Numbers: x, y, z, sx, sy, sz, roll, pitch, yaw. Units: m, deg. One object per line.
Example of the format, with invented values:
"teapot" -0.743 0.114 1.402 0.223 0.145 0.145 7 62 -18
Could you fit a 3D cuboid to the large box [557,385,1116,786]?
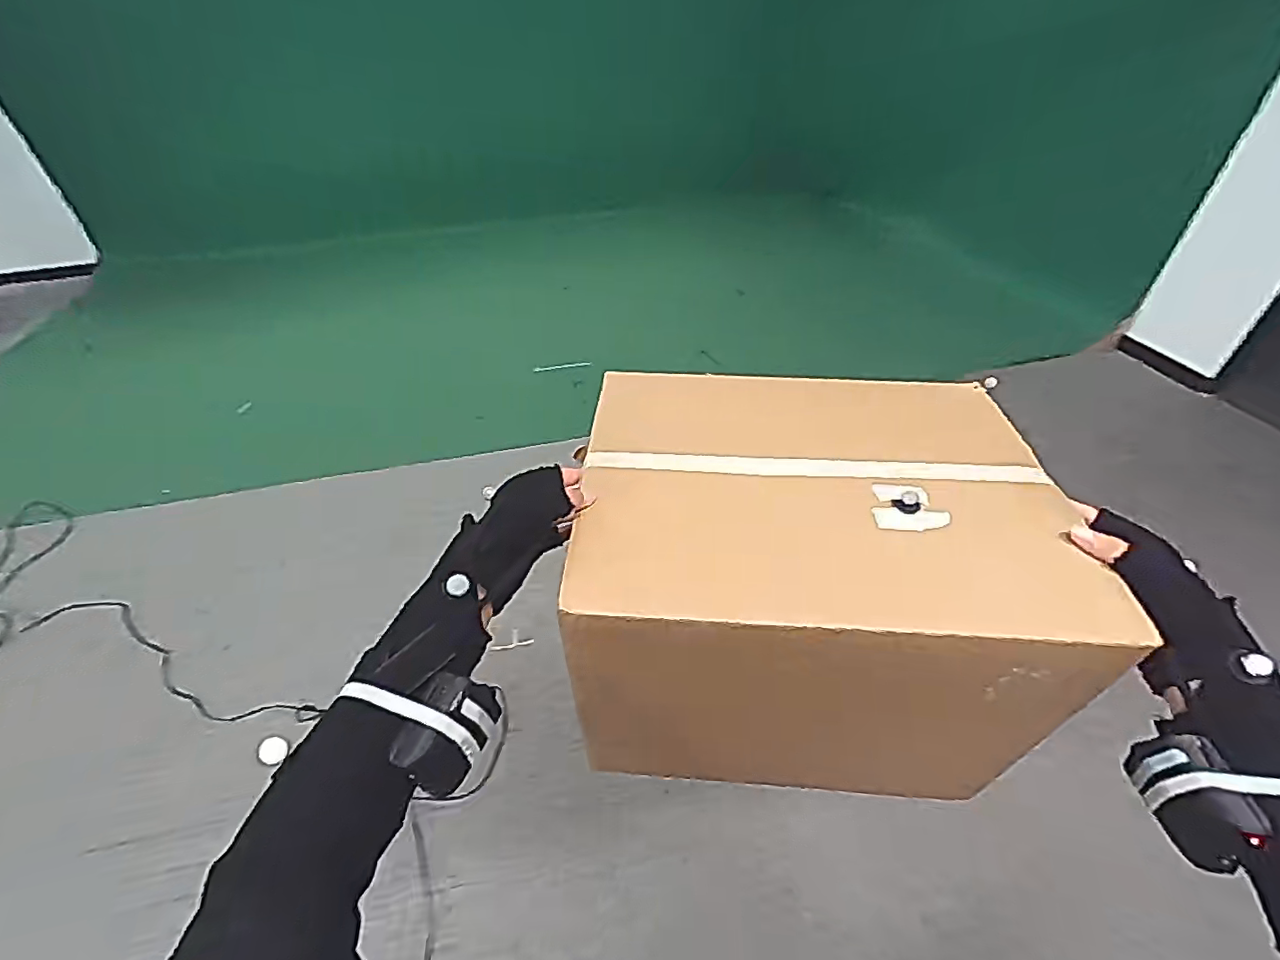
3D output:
"large box" 0.141 0.110 0.590 0.408 0.320 0.320 2 43 2
